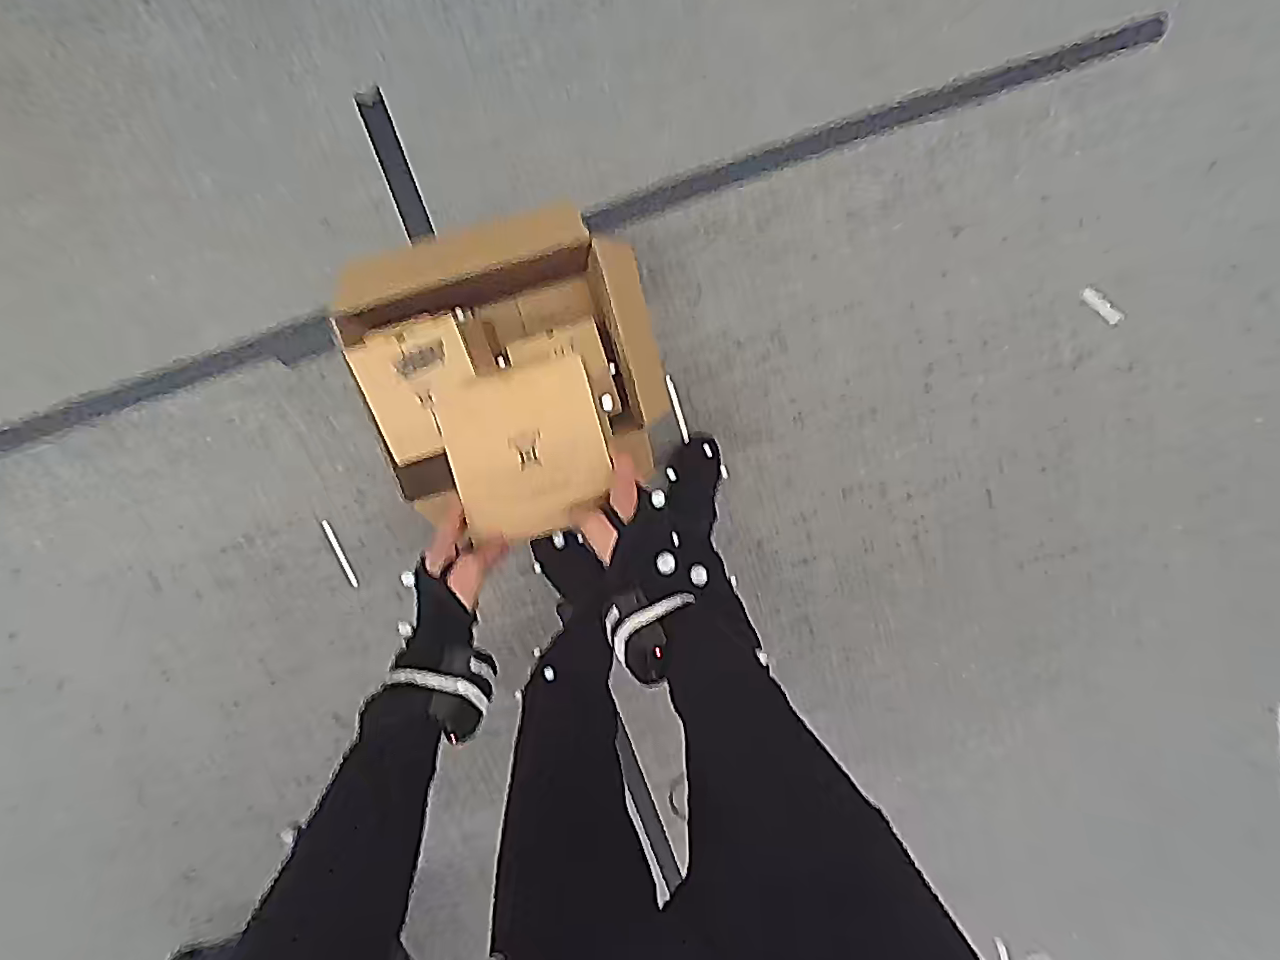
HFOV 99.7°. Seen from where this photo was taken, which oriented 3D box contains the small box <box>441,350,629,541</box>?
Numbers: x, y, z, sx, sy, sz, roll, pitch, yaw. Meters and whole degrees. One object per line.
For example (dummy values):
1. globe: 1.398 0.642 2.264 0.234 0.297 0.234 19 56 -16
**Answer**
1. small box: -0.113 -0.033 0.652 0.168 0.176 0.179 -15 87 1
